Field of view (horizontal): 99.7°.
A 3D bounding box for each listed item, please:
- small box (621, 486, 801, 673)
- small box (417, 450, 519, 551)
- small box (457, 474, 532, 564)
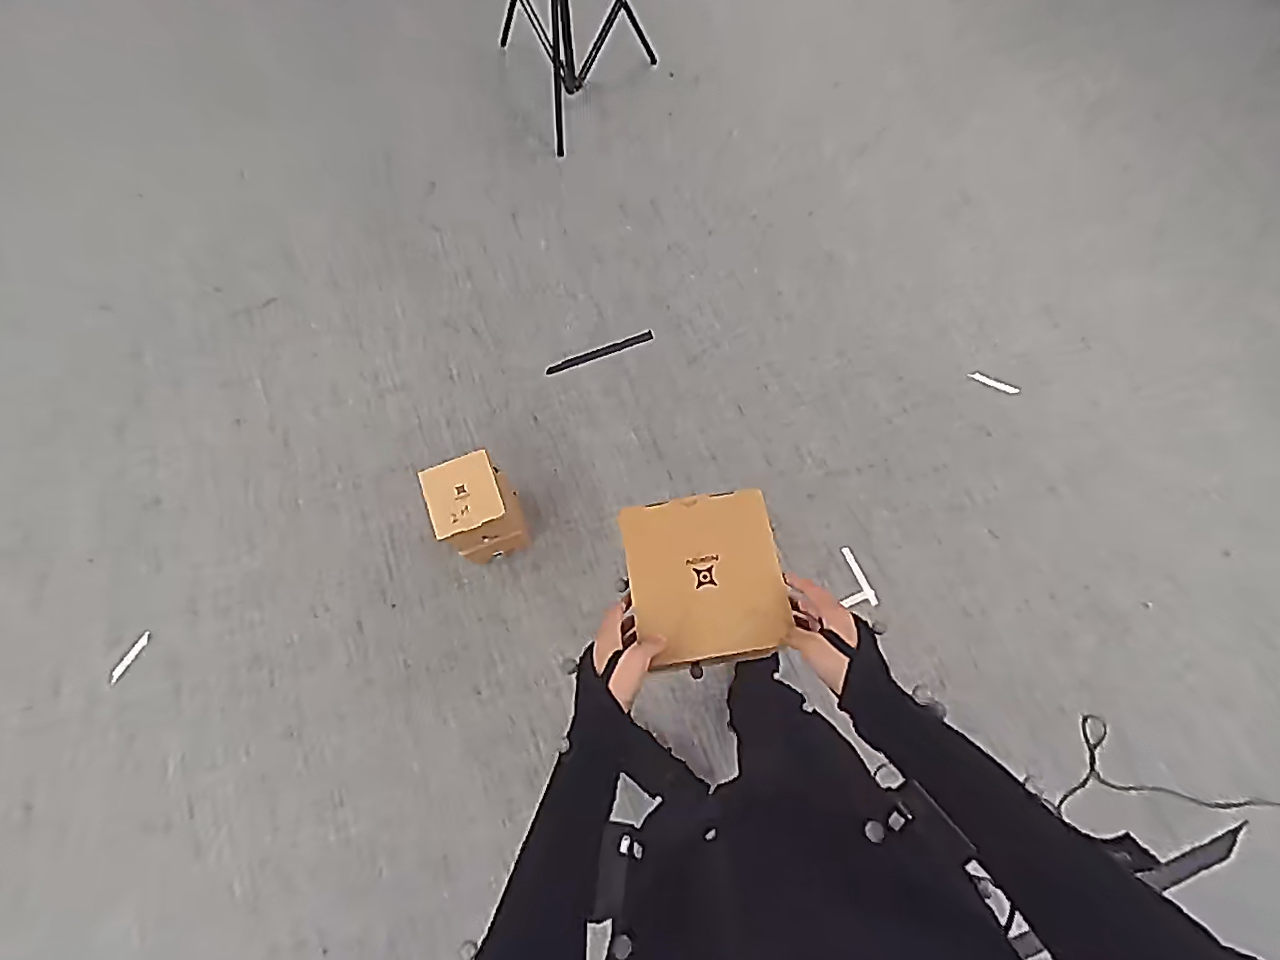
[{"bbox_3d":[0.074,0.127,0.642,0.168,0.176,0.179,-9,66,-2],"label":"small box"},{"bbox_3d":[-0.409,0.056,1.306,0.168,0.176,0.179,-21,75,-6],"label":"small box"},{"bbox_3d":[-0.408,0.111,1.461,0.168,0.176,0.179,-21,74,-6],"label":"small box"}]
